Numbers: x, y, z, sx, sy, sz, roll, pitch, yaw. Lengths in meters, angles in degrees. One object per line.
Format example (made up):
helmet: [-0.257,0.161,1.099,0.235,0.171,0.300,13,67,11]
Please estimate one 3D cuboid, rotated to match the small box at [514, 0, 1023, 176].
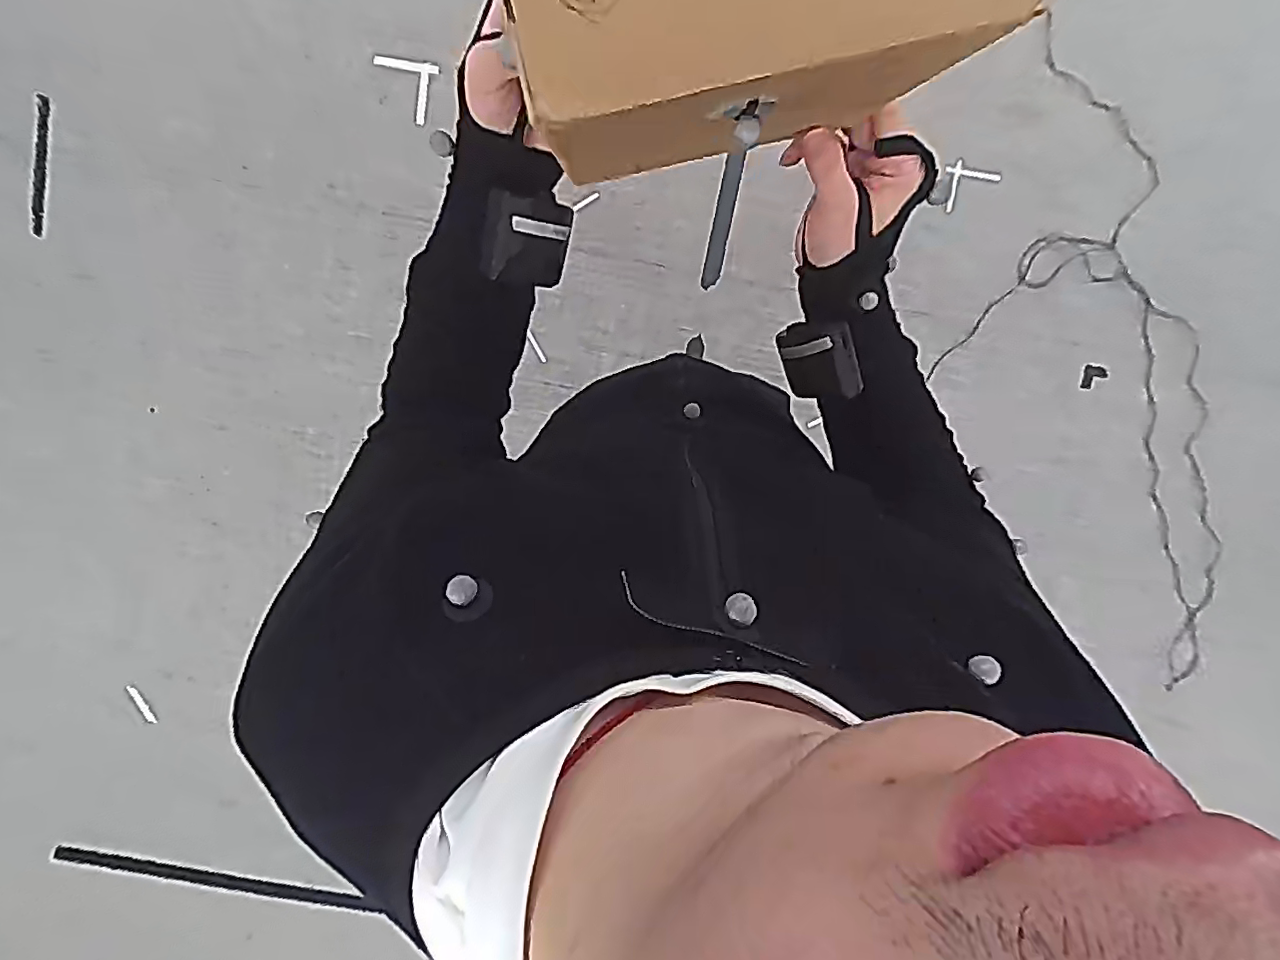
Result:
small box: [0.031,-0.248,0.235,0.179,0.176,0.168,-12,113,2]
